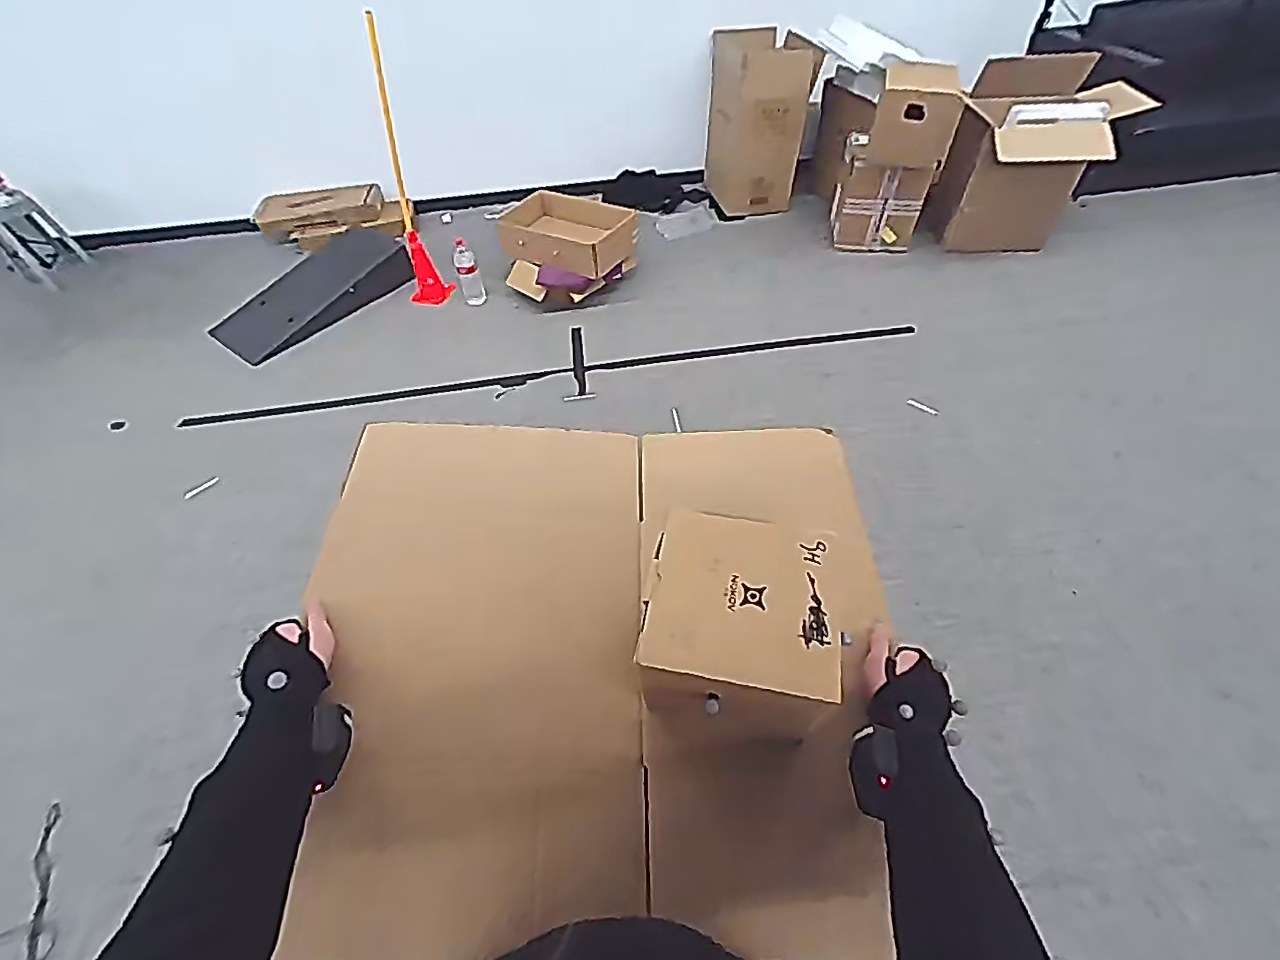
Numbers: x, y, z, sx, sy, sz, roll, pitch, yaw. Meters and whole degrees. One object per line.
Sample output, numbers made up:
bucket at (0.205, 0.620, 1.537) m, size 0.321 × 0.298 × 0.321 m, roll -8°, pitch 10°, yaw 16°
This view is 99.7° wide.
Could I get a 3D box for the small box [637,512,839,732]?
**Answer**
small box at (0.106, 0.155, 0.576) m, size 0.179 × 0.176 × 0.168 m, roll 7°, pitch 56°, yaw 11°
